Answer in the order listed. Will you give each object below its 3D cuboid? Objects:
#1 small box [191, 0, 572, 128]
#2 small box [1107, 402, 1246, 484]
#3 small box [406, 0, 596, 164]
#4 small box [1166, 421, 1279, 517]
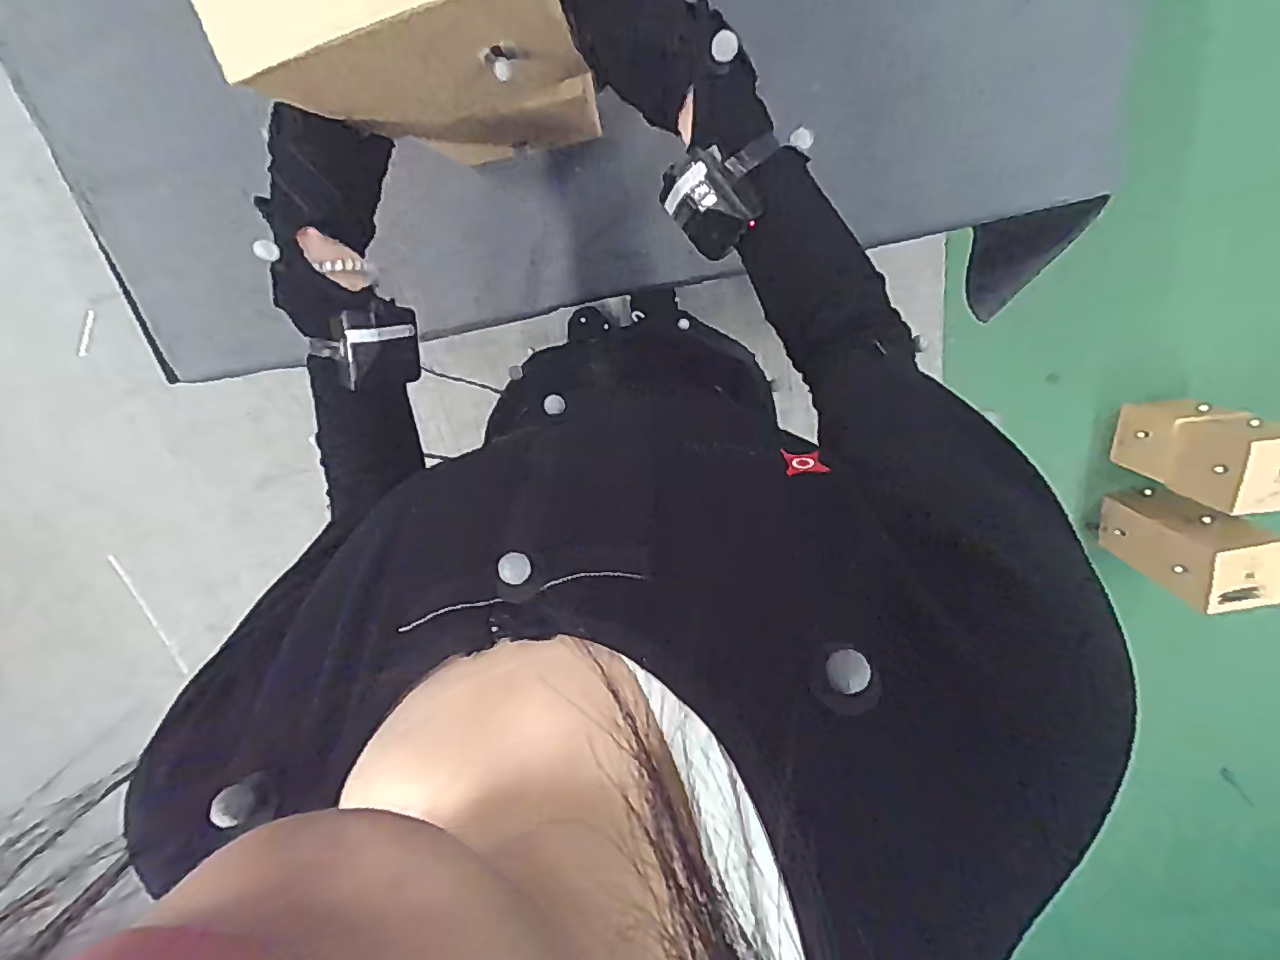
[{"bbox_3d":[-0.148,-0.335,0.315,0.179,0.176,0.168,-10,111,11],"label":"small box"},{"bbox_3d":[1.365,-0.098,1.392,0.179,0.176,0.168,-5,111,3],"label":"small box"},{"bbox_3d":[-0.143,-0.427,0.515,0.168,0.176,0.179,-9,111,5],"label":"small box"},{"bbox_3d":[1.374,-0.033,1.240,0.168,0.176,0.179,-6,111,3],"label":"small box"}]
